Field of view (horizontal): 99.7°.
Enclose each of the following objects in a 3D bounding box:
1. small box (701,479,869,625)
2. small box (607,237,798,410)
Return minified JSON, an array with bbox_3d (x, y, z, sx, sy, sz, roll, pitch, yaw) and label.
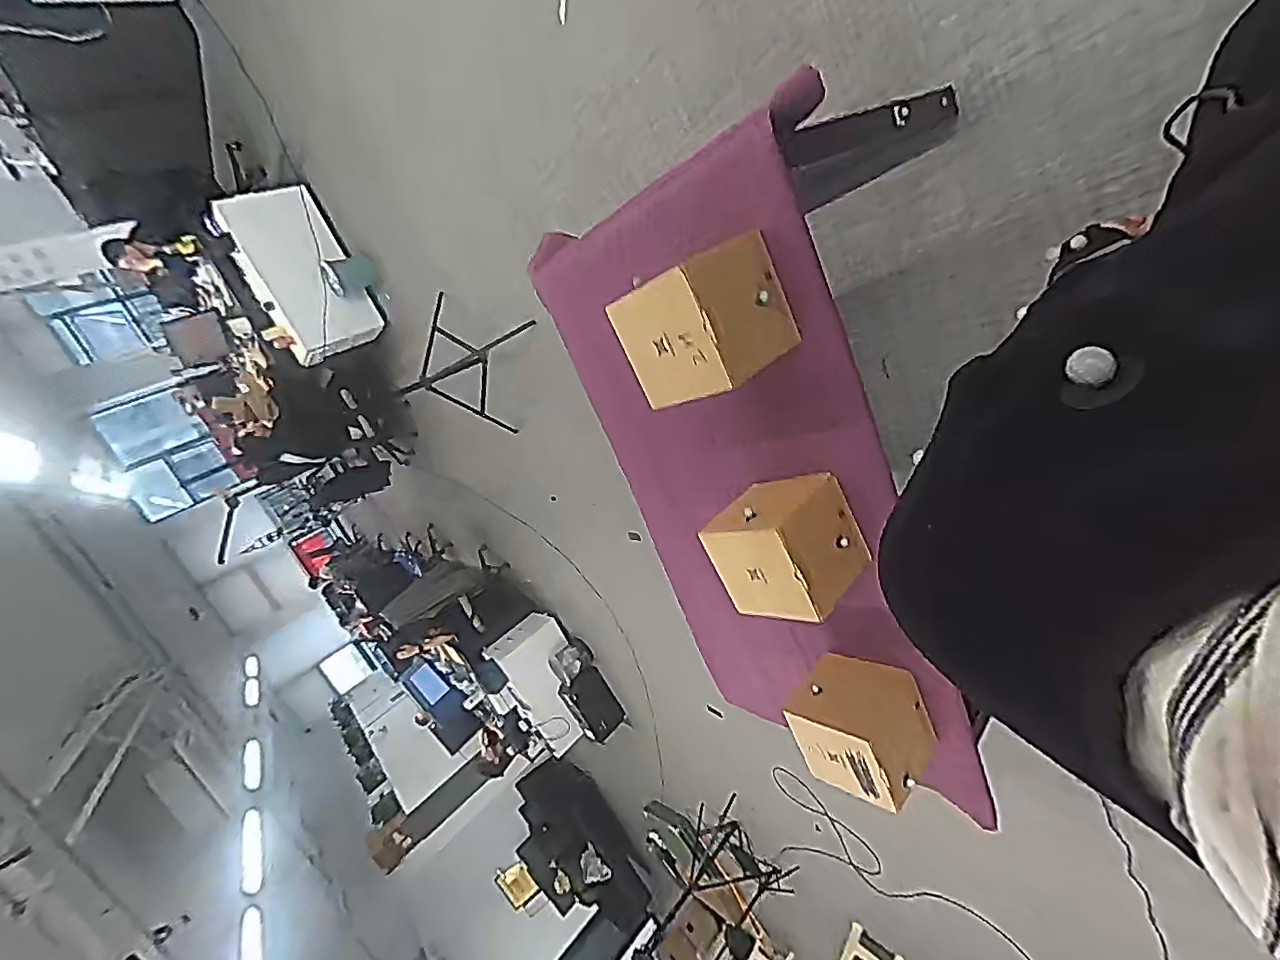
[{"bbox_3d":[0.240,0.114,0.891,0.179,0.176,0.168,-12,110,54],"label":"small box"},{"bbox_3d":[0.090,-0.218,0.773,0.179,0.176,0.168,-5,117,54],"label":"small box"}]
